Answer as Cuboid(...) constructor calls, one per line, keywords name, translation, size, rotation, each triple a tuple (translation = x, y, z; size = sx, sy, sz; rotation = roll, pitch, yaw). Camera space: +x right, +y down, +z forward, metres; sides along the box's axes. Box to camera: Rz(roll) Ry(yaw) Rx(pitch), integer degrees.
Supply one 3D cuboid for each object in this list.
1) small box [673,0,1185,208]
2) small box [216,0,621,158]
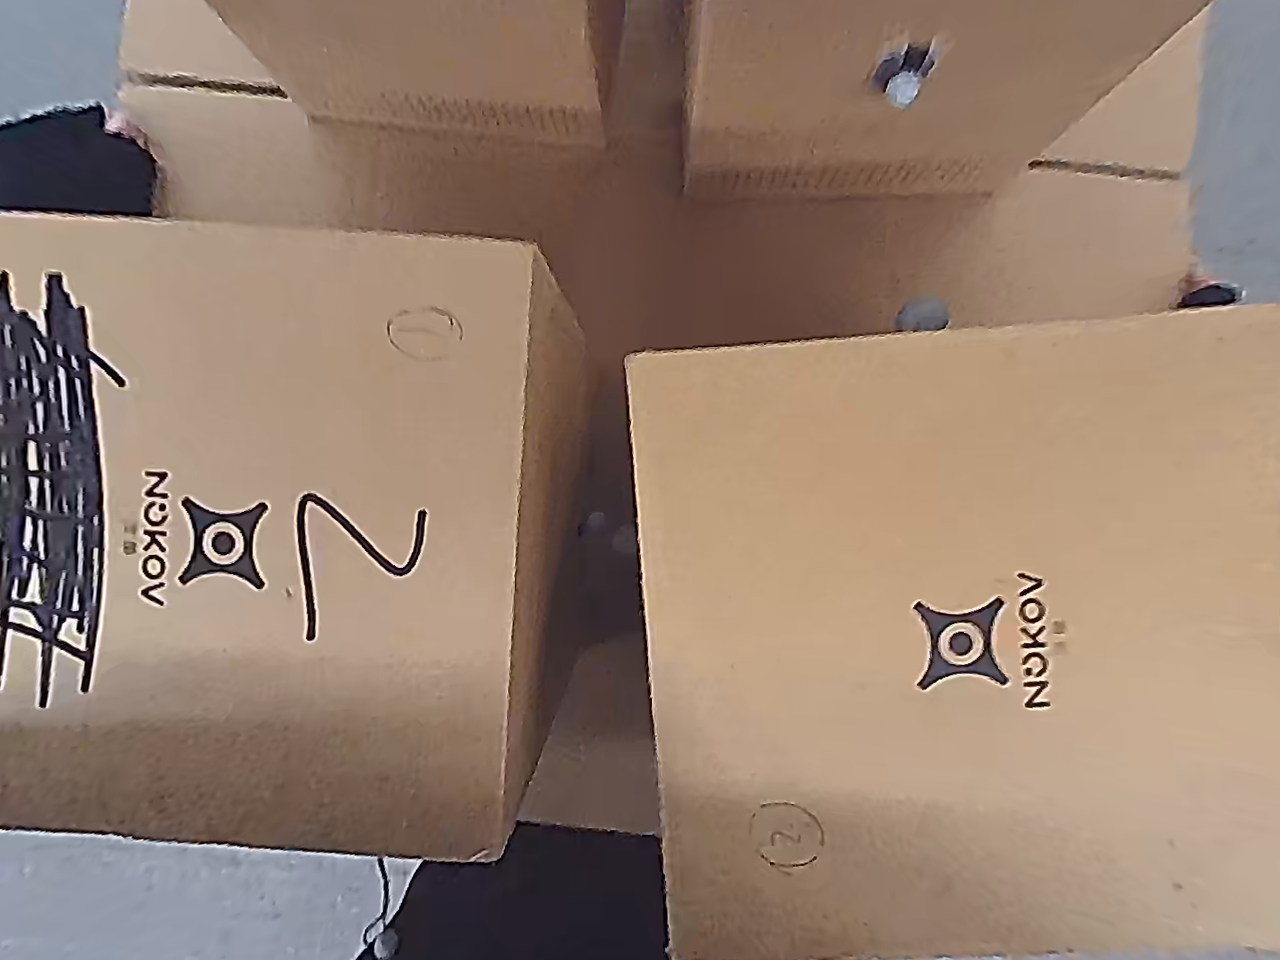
Cuboid(name="small box", translation=(0.105, -0.244, 0.239), size=(0.179, 0.176, 0.168), rotation=(-1, 87, 2))
Cuboid(name="small box", translation=(-0.096, -0.282, 0.247), size=(0.179, 0.176, 0.168), rotation=(8, 87, 1))
